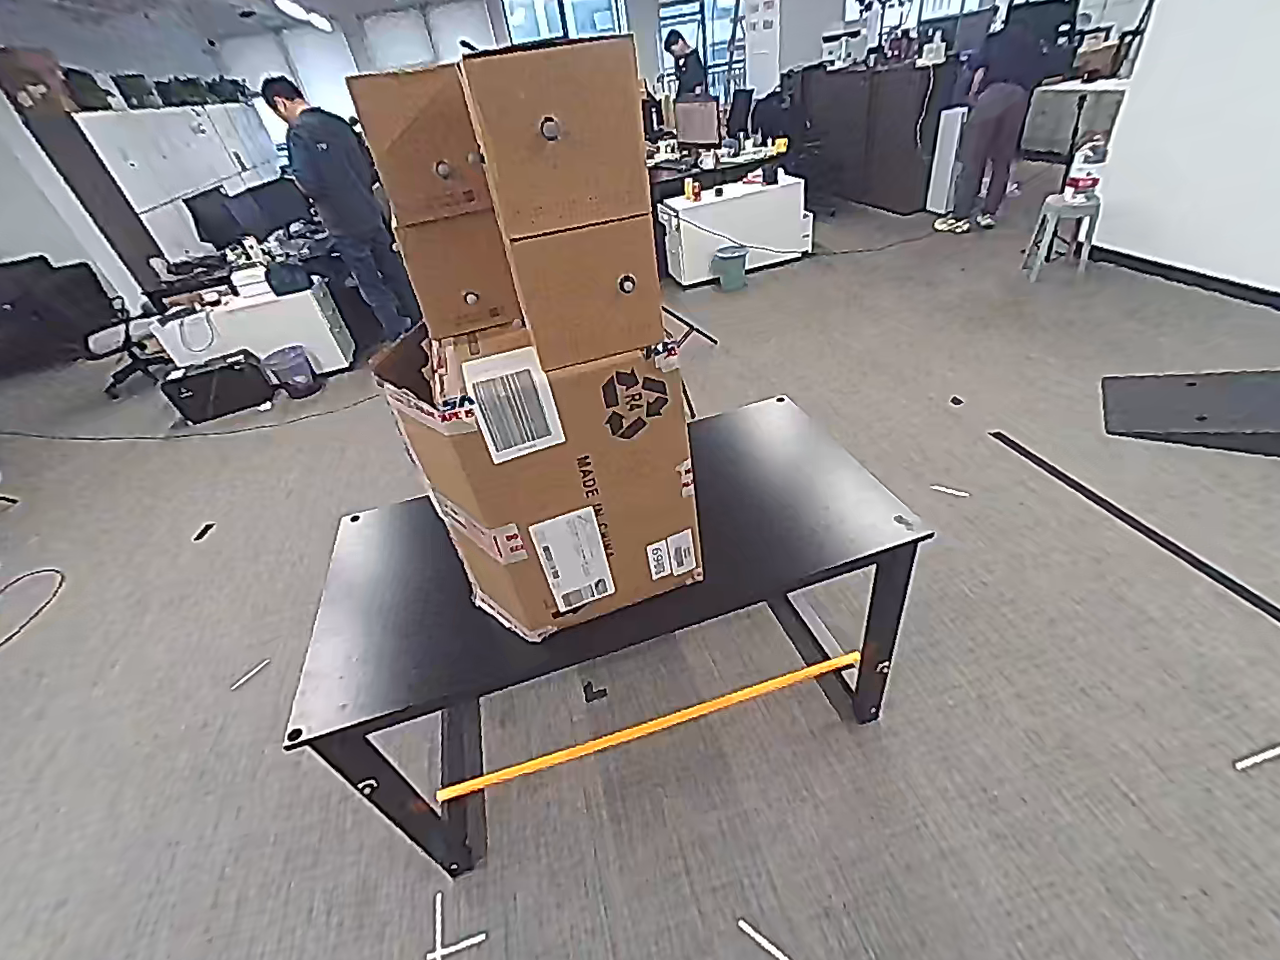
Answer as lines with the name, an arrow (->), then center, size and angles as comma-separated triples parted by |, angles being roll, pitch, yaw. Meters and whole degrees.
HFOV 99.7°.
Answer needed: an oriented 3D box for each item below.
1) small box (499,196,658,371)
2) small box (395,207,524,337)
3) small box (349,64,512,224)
small box -> -0.080, -0.272, 0.746 | 0.179, 0.176, 0.168 | -17, 38, -9
small box -> -0.286, -0.350, 0.885 | 0.168, 0.176, 0.179 | -18, 37, -12
small box -> -0.298, -0.480, 0.783 | 0.168, 0.176, 0.179 | -20, 37, -14
